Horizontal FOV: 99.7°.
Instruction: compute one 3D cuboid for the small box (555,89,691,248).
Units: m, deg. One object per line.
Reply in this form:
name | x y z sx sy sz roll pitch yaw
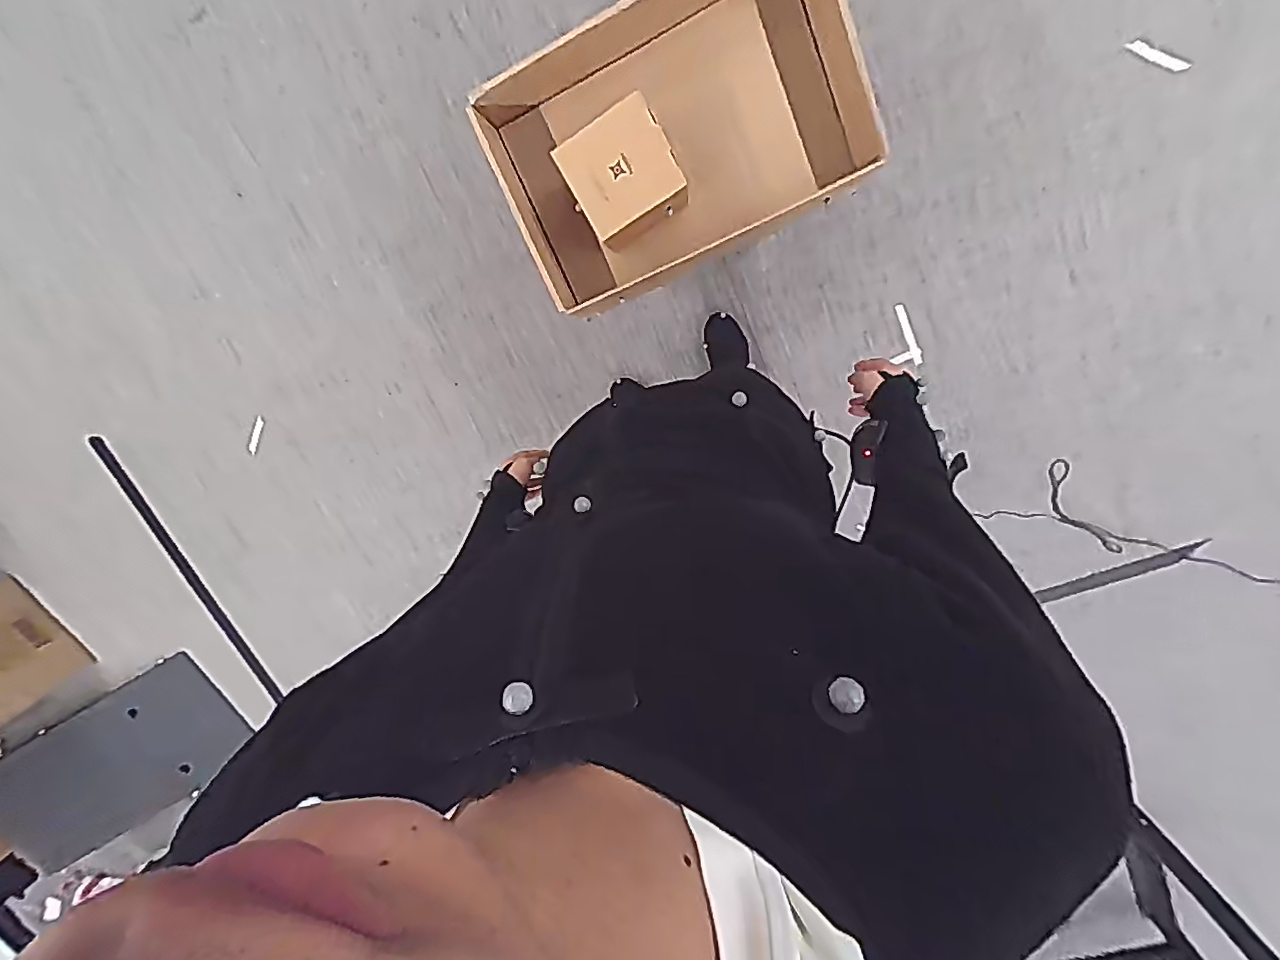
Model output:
small box | -0.024 -0.544 0.974 0.179 0.176 0.168 -29 102 13
